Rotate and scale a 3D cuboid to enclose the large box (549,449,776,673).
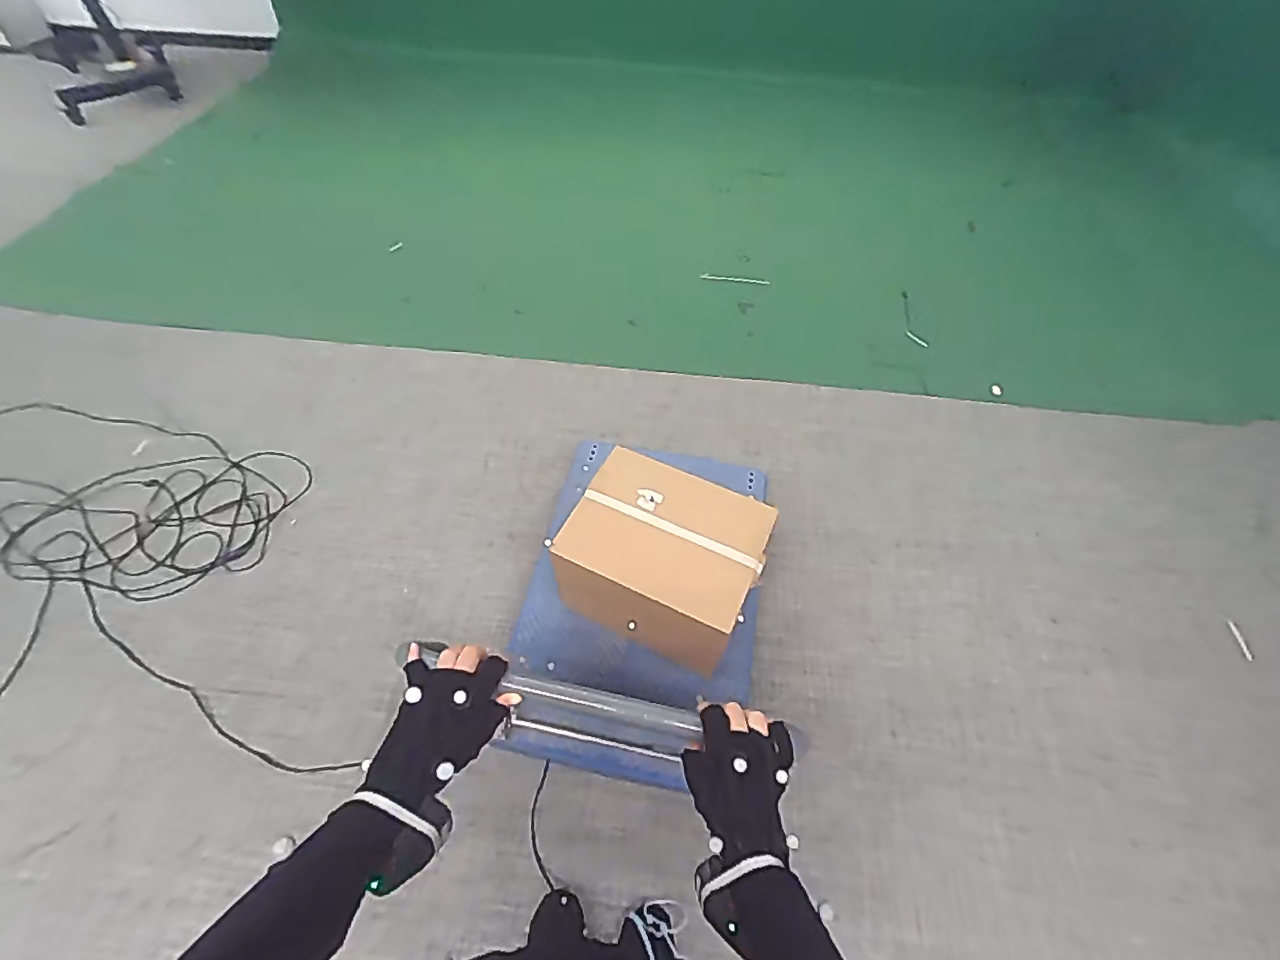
[{"bbox_3d":[0.056,0.194,1.267,0.408,0.320,0.320,23,58,15],"label":"large box"}]
